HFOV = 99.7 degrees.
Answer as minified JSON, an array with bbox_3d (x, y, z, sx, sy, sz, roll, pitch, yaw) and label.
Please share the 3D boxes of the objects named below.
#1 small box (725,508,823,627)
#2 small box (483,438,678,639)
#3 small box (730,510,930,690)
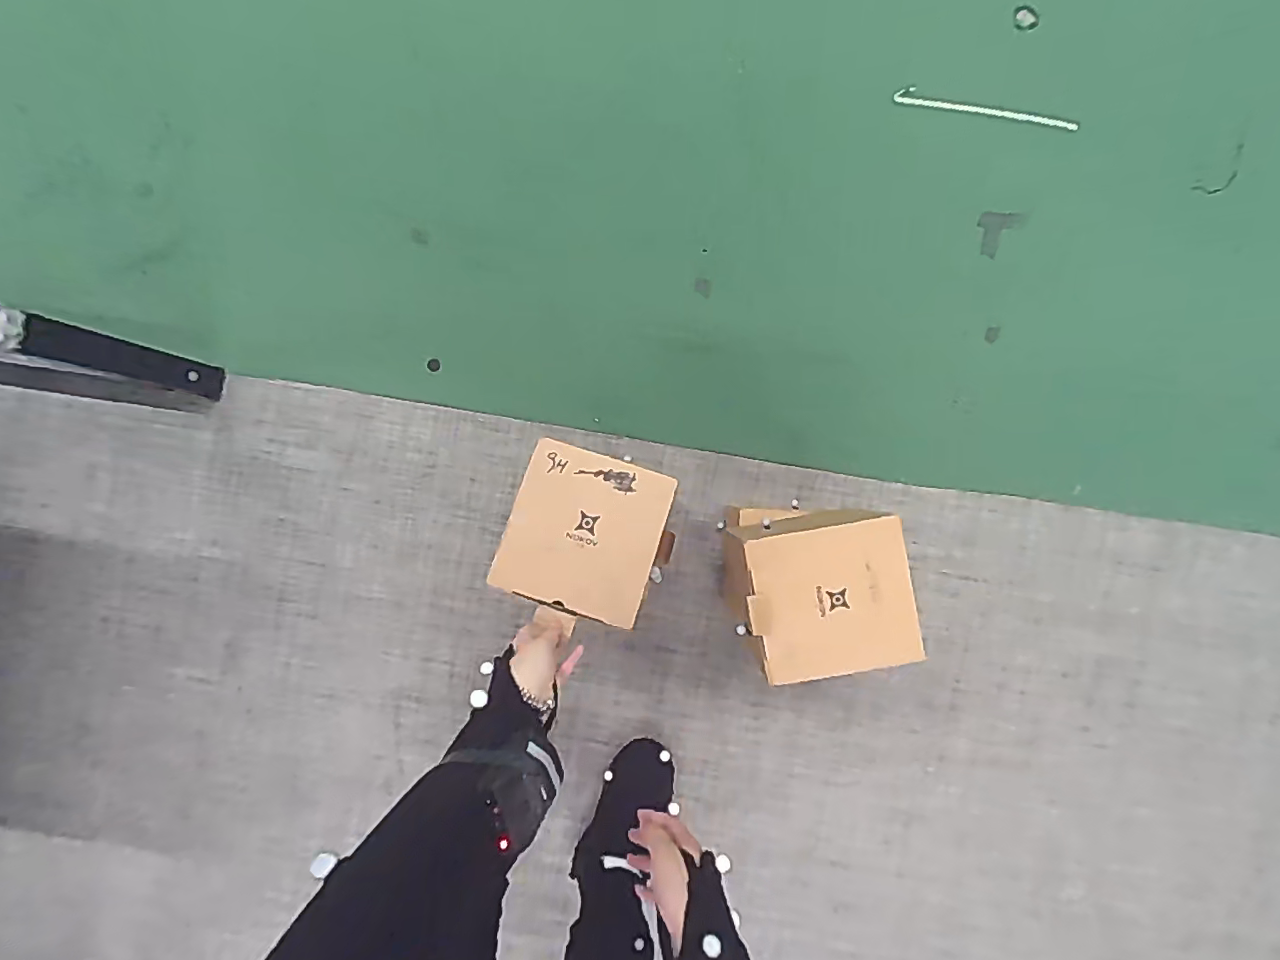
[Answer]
[{"bbox_3d":[0.227,0.129,0.822,0.179,0.176,0.168,2,89,1],"label":"small box"},{"bbox_3d":[-0.061,0.076,0.651,0.168,0.176,0.179,19,77,3],"label":"small box"},{"bbox_3d":[0.213,0.133,0.660,0.179,0.176,0.168,-11,90,0],"label":"small box"}]
